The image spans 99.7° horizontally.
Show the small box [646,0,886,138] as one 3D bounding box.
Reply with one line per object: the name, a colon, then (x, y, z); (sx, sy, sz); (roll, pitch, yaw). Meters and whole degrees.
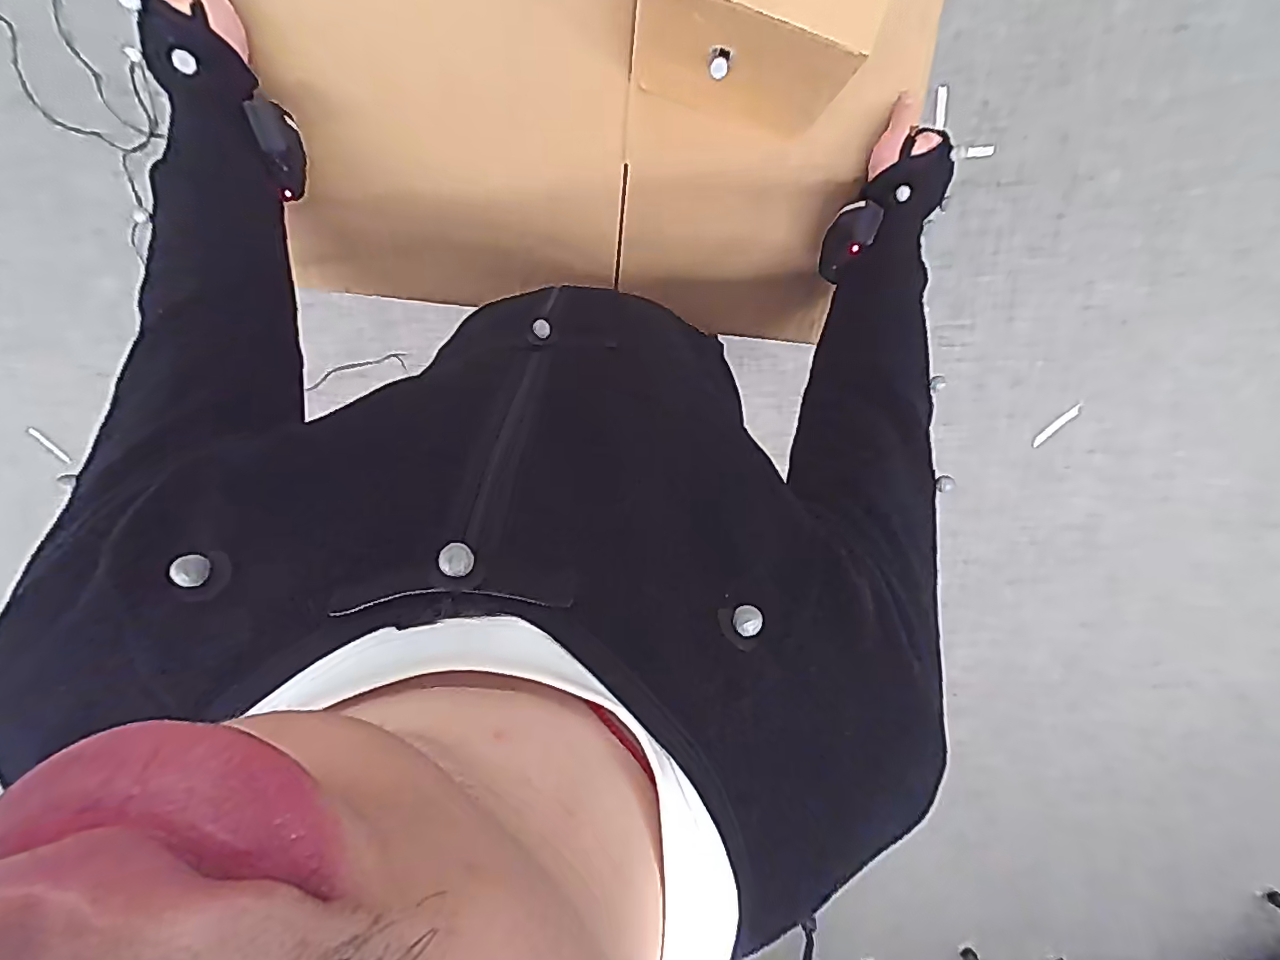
small box: (0.108, -0.429, 0.461); (0.179, 0.176, 0.168); (16, 101, -5)
